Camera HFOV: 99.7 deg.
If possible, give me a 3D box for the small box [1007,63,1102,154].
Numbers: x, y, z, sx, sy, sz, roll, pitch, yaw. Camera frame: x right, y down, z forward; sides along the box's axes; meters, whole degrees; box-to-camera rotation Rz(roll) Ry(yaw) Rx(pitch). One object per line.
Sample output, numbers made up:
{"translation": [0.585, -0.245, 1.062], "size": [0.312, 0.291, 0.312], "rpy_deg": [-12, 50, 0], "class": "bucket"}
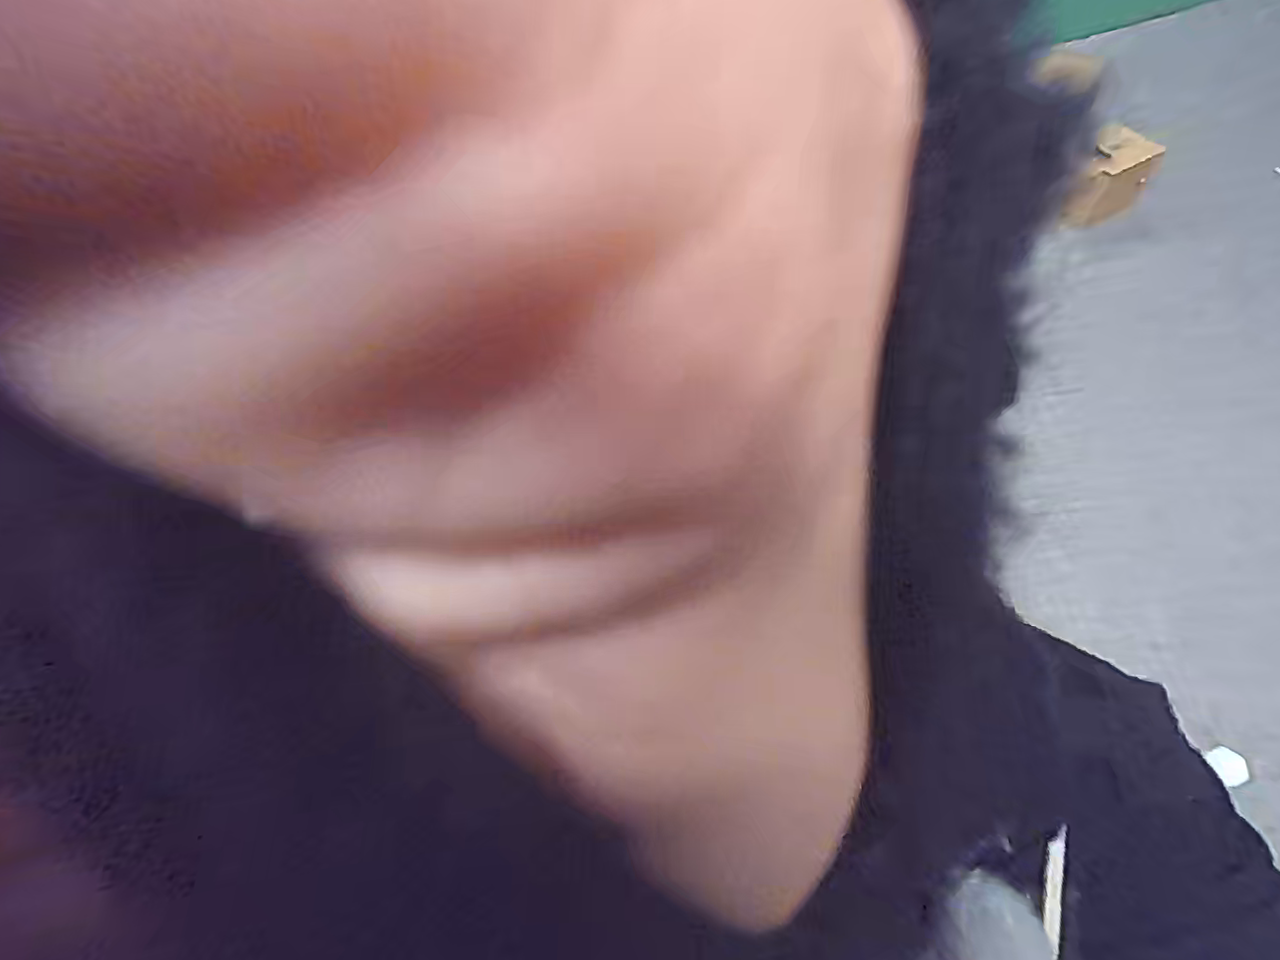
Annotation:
{"translation": [1.278, -1.152, 1.681], "size": [0.168, 0.176, 0.179], "rpy_deg": [25, 70, 22], "class": "small box"}
